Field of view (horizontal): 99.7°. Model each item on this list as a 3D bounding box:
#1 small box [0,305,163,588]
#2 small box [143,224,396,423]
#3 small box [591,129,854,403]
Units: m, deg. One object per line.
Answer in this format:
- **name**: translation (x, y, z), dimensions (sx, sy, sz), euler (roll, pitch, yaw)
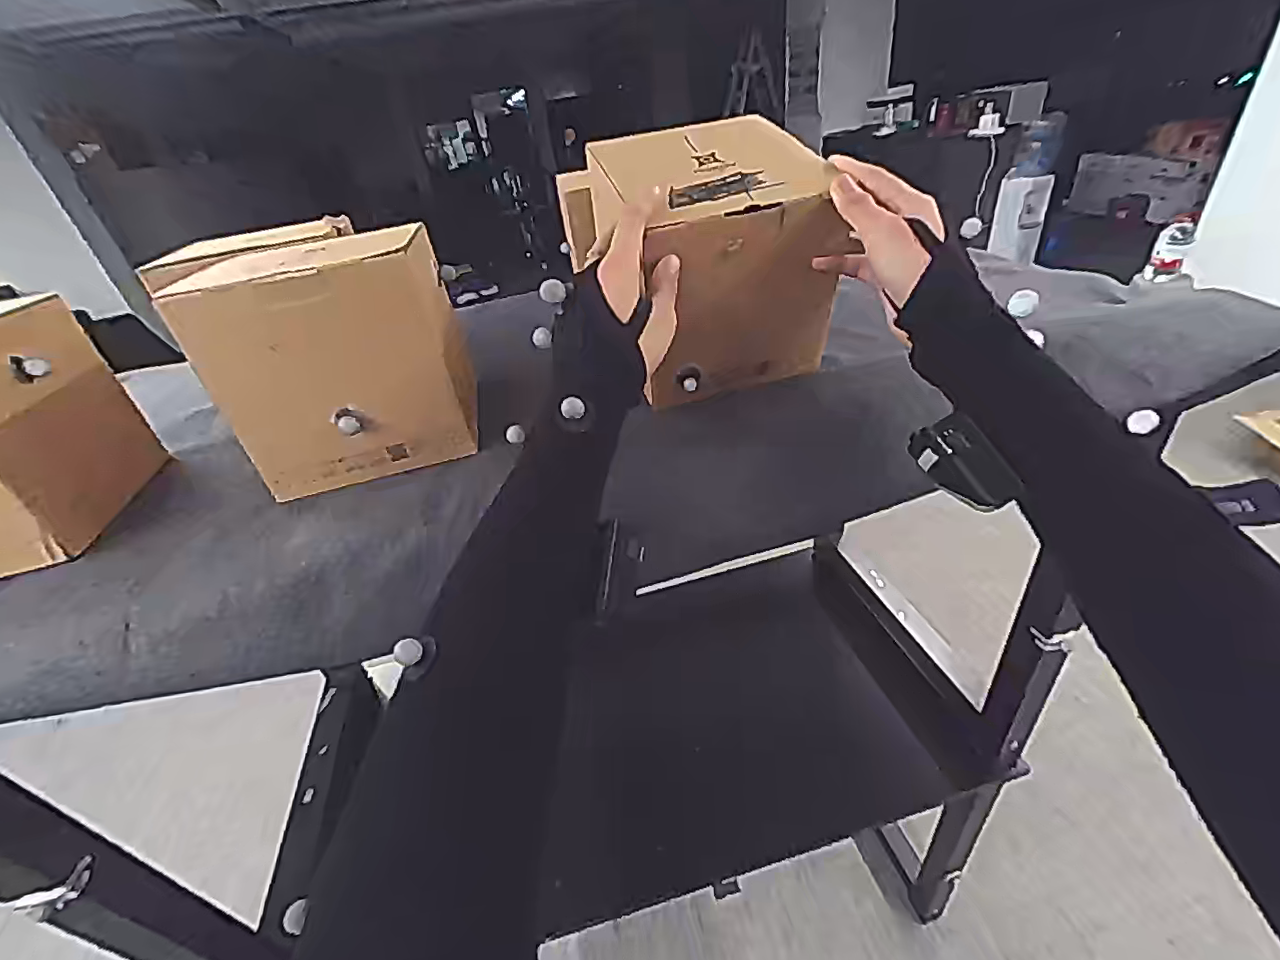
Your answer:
- **small box**: translation (-0.536, -0.022, 0.426), dimensions (0.168, 0.176, 0.179), euler (-15, 34, -10)
- **small box**: translation (-0.408, -0.189, 0.640), dimensions (0.179, 0.176, 0.168), euler (-15, 34, -10)
- **small box**: translation (0.062, -0.189, 0.494), dimensions (0.168, 0.176, 0.179), euler (-15, 49, -8)
